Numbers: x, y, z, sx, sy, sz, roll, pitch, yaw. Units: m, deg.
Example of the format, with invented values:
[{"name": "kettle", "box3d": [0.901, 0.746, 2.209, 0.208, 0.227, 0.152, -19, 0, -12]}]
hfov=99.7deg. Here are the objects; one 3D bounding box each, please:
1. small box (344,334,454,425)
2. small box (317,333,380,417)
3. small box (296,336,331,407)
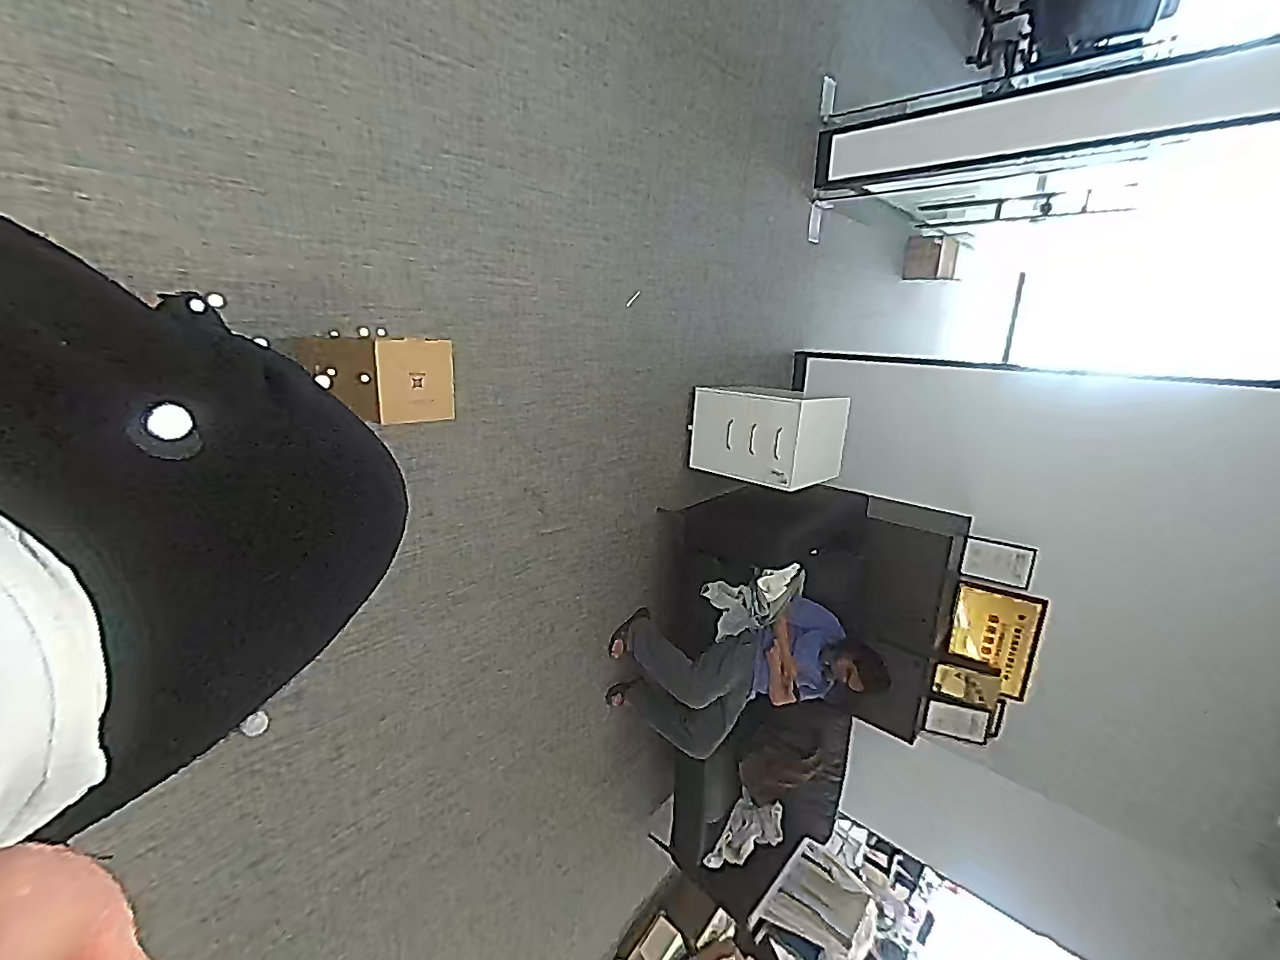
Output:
[{"name": "small box", "box3d": [-0.530, -0.226, 1.187, 0.168, 0.176, 0.179, -15, 115, -46]}, {"name": "small box", "box3d": [-0.648, -0.256, 1.294, 0.168, 0.176, 0.179, -16, 114, -47]}, {"name": "small box", "box3d": [-0.770, -0.285, 1.401, 0.179, 0.176, 0.168, -14, 113, -46]}]
